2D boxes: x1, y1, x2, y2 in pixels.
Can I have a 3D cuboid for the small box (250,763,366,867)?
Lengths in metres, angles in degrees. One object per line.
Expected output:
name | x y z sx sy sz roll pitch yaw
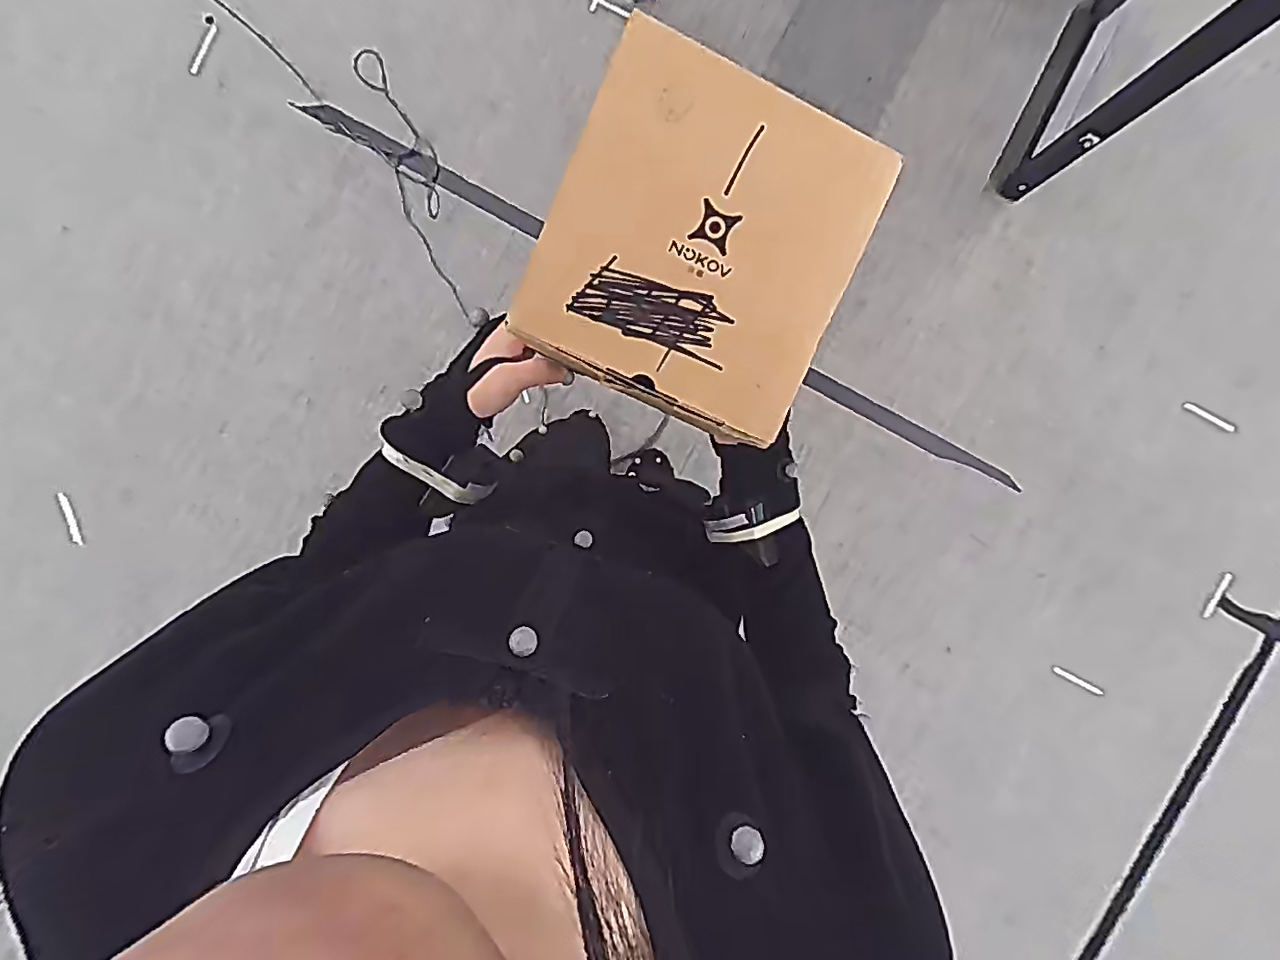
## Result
small box | -0.876 0.870 1.442 0.179 0.176 0.168 22 93 0

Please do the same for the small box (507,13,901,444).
small box | 0.031 -0.140 0.373 0.168 0.176 0.179 24 95 -7
